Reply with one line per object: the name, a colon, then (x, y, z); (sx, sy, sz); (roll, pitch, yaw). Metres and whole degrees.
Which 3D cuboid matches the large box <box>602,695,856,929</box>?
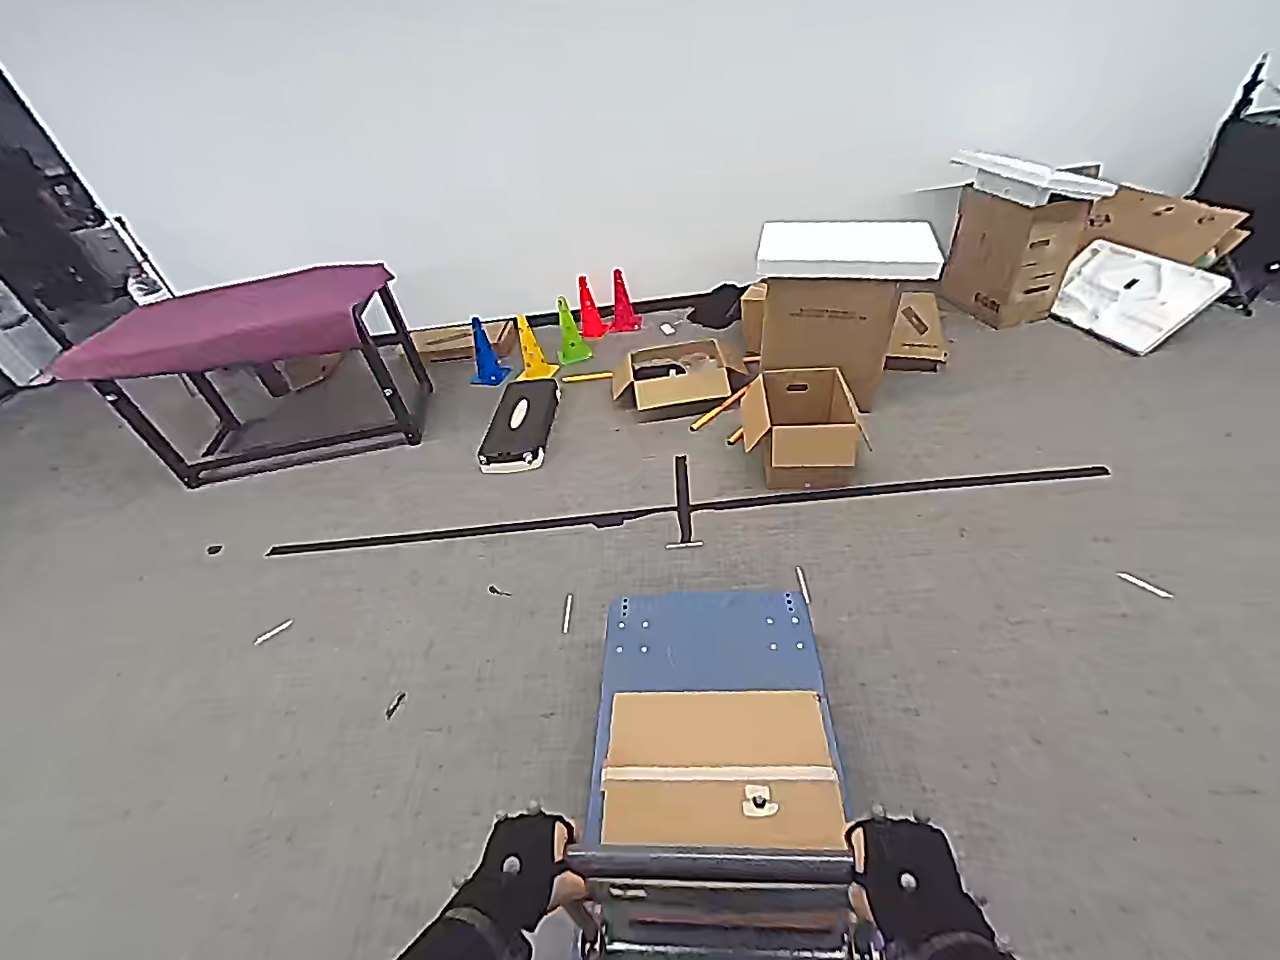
large box: (0.153, 0.641, 1.049); (0.408, 0.320, 0.320); (-3, 41, 6)
